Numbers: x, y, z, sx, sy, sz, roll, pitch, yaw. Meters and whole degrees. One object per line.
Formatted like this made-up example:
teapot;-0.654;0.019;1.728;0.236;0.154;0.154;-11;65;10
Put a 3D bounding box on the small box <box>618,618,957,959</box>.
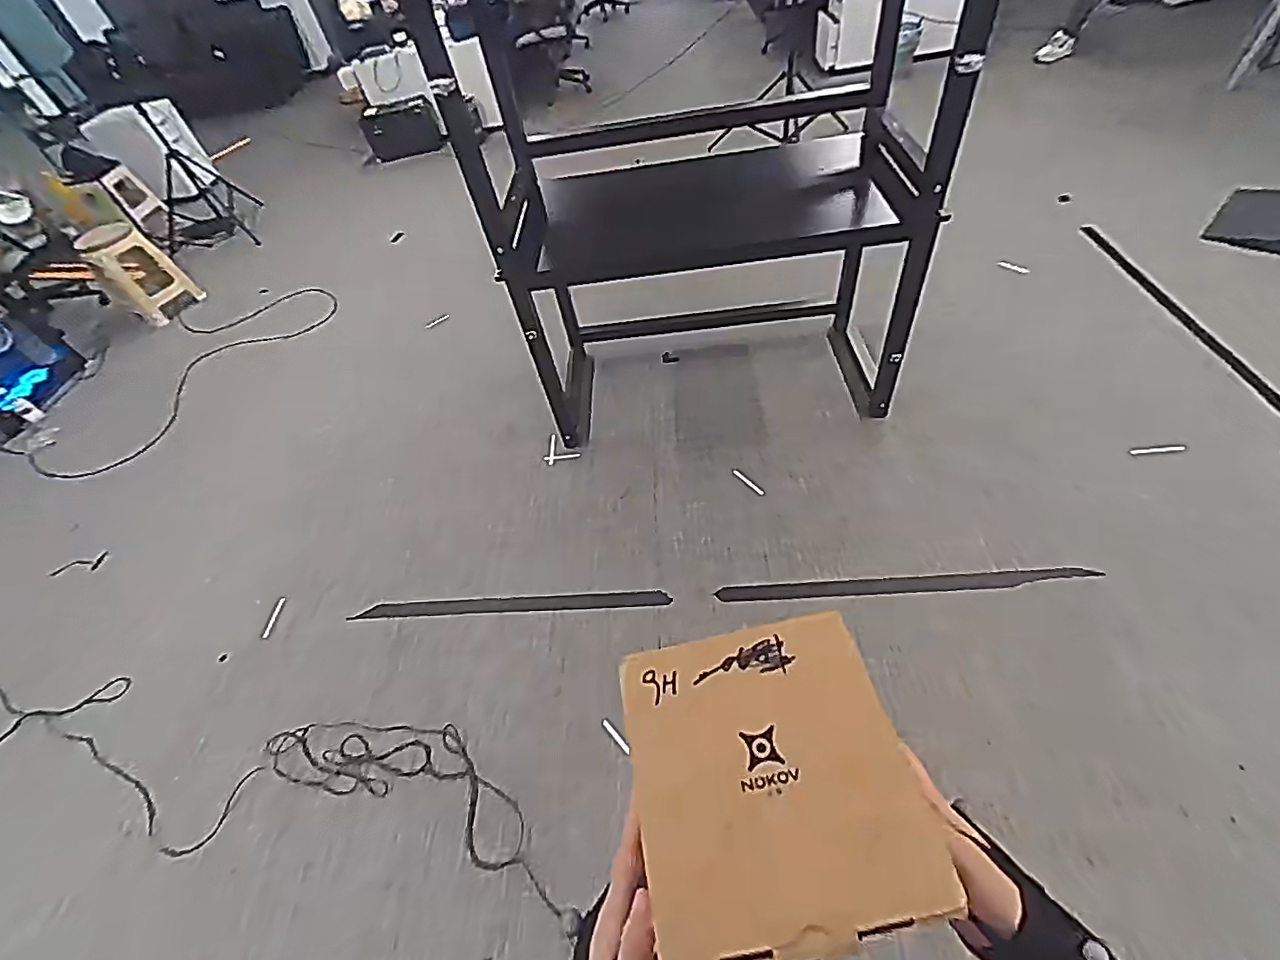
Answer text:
small box;0.088;0.231;0.399;0.168;0.176;0.179;-13;49;-1
